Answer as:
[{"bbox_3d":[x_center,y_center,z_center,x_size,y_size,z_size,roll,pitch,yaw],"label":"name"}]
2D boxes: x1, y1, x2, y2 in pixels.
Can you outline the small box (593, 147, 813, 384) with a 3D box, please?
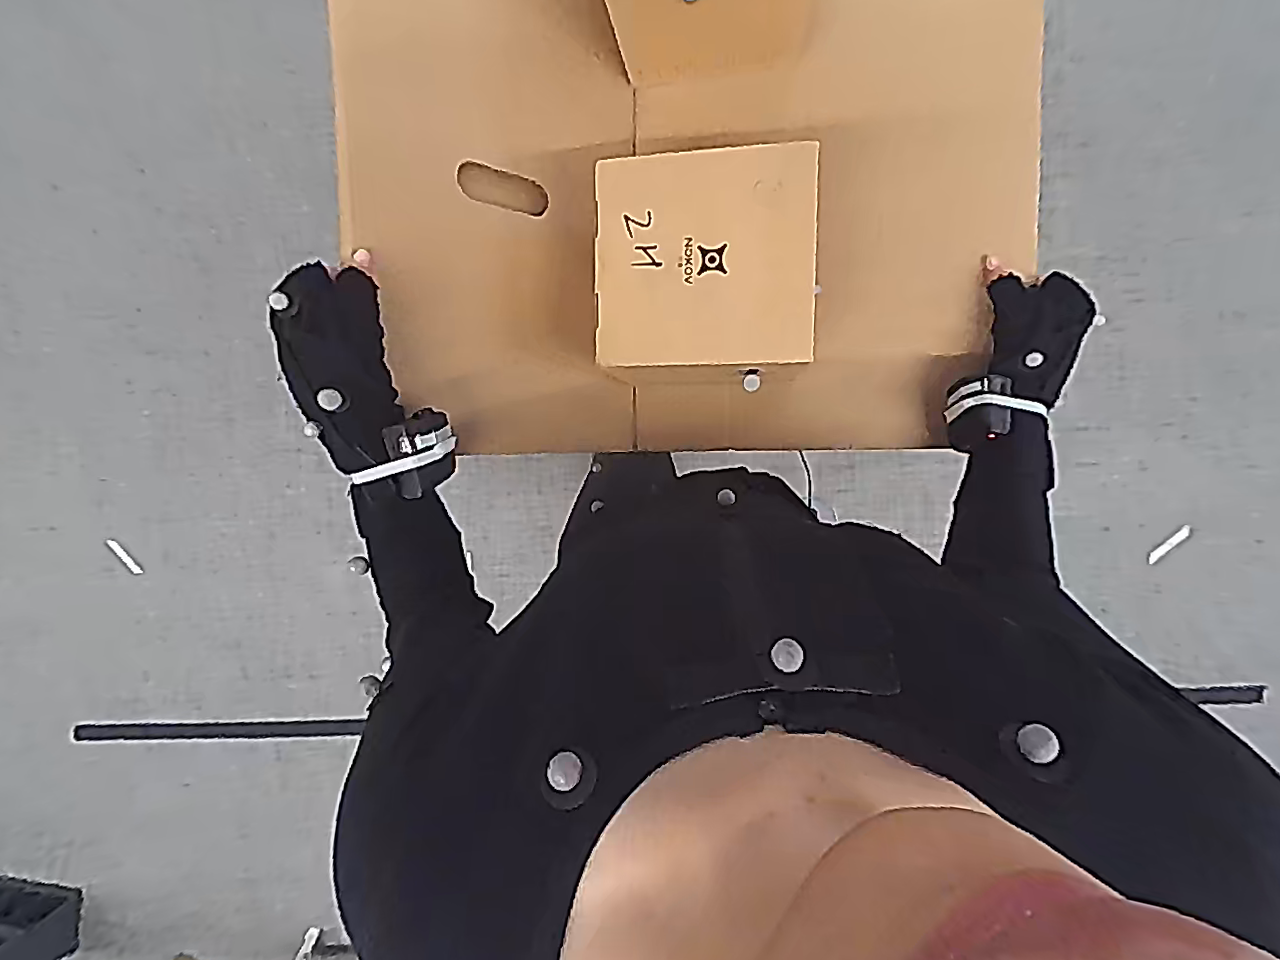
[{"bbox_3d":[0.060,-0.185,0.516,0.179,0.176,0.168,1,94,11],"label":"small box"}]
